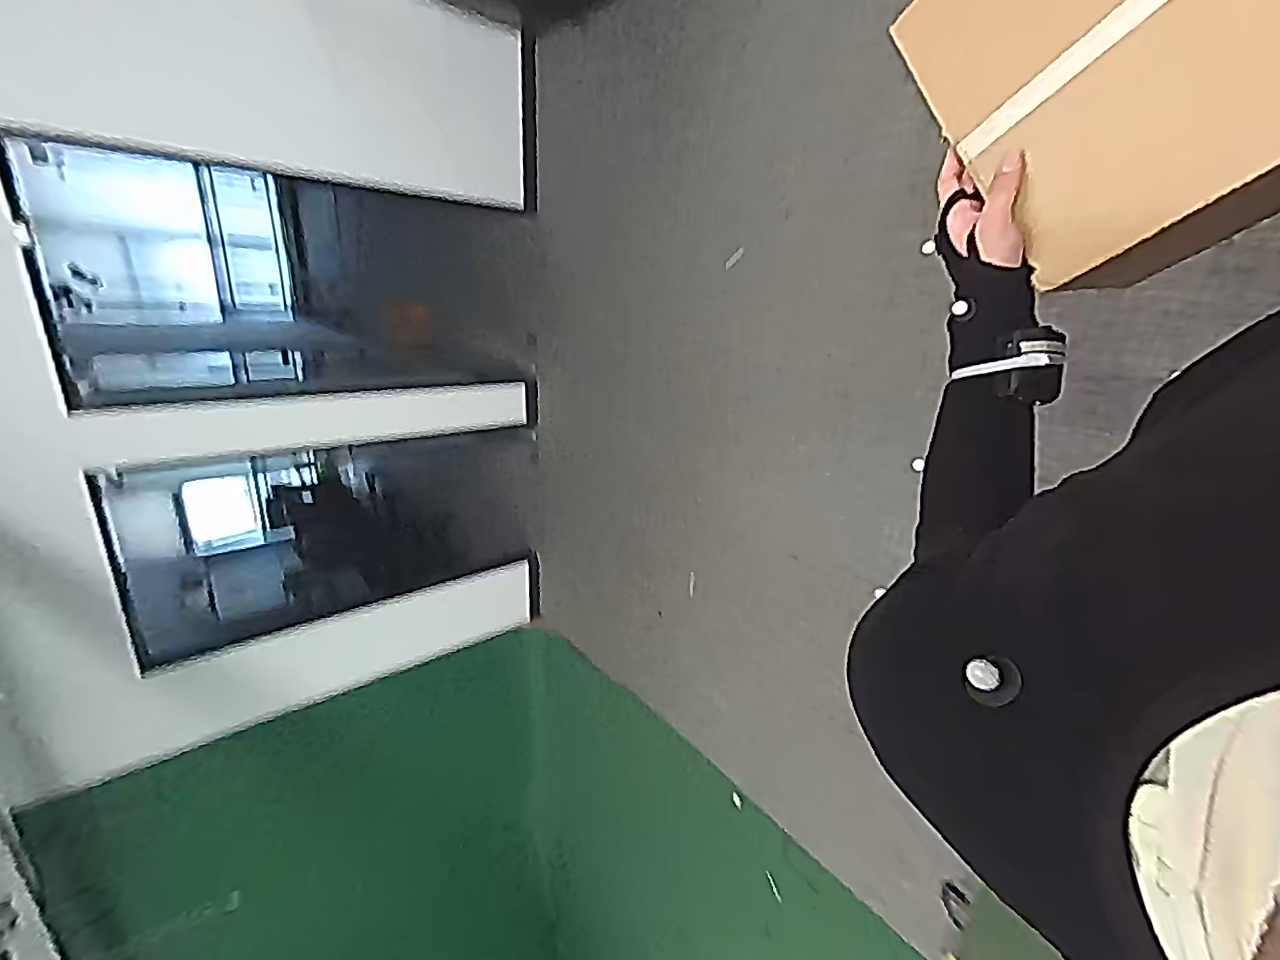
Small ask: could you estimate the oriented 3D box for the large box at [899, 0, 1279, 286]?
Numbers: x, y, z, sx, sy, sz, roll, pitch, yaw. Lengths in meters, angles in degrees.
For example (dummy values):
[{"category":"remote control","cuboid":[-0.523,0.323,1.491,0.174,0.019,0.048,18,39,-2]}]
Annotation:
[{"category":"large box","cuboid":[0.535,-0.420,0.467,0.408,0.320,0.320,-36,75,52]}]
